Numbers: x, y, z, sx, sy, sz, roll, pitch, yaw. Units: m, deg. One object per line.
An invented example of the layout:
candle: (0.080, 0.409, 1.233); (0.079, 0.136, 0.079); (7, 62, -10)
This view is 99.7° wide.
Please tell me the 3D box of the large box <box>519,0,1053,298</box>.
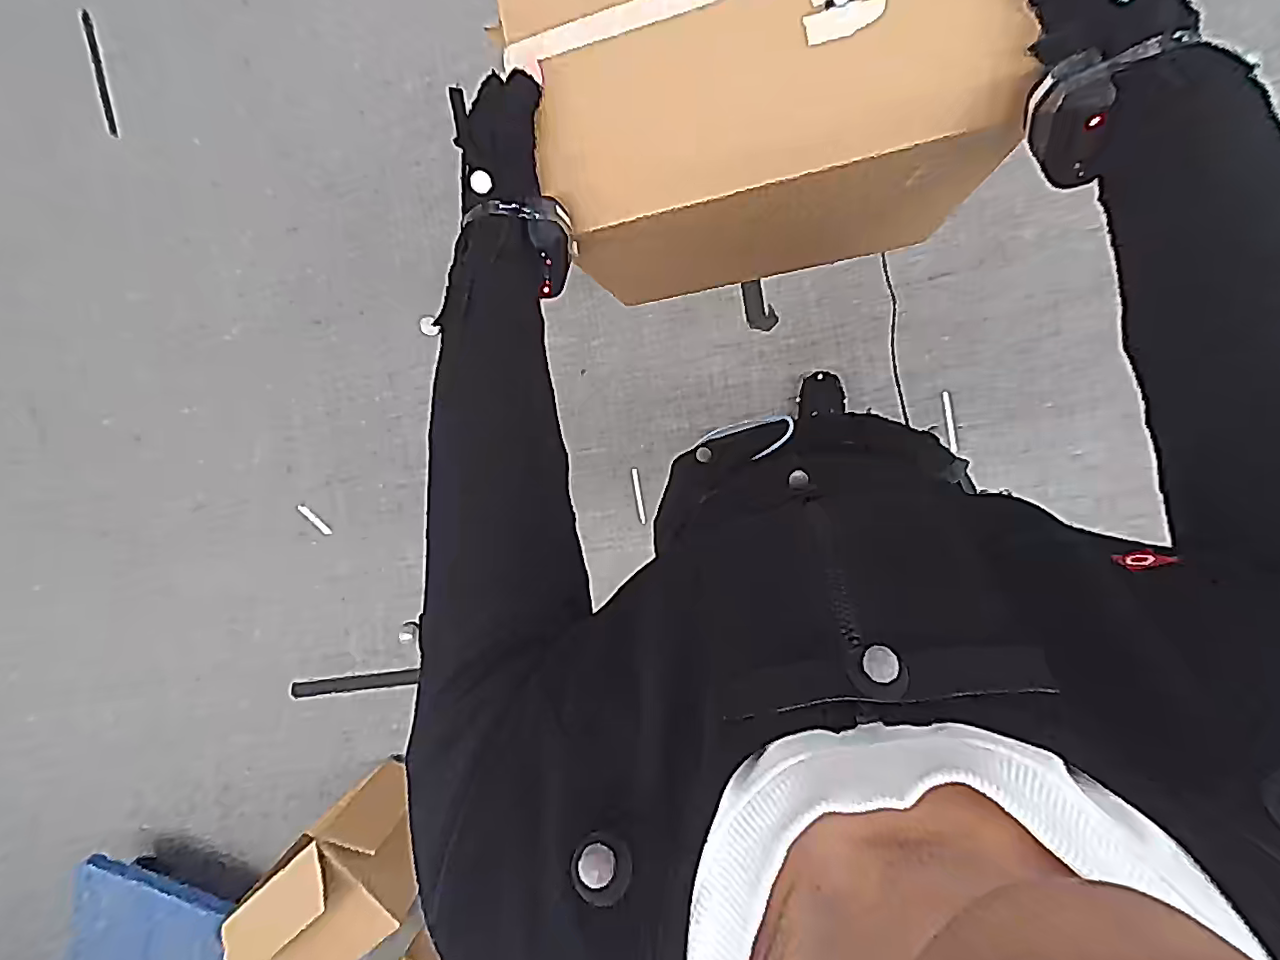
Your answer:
large box: (0.120, -0.422, 0.578); (0.408, 0.320, 0.320); (-9, 95, 12)
